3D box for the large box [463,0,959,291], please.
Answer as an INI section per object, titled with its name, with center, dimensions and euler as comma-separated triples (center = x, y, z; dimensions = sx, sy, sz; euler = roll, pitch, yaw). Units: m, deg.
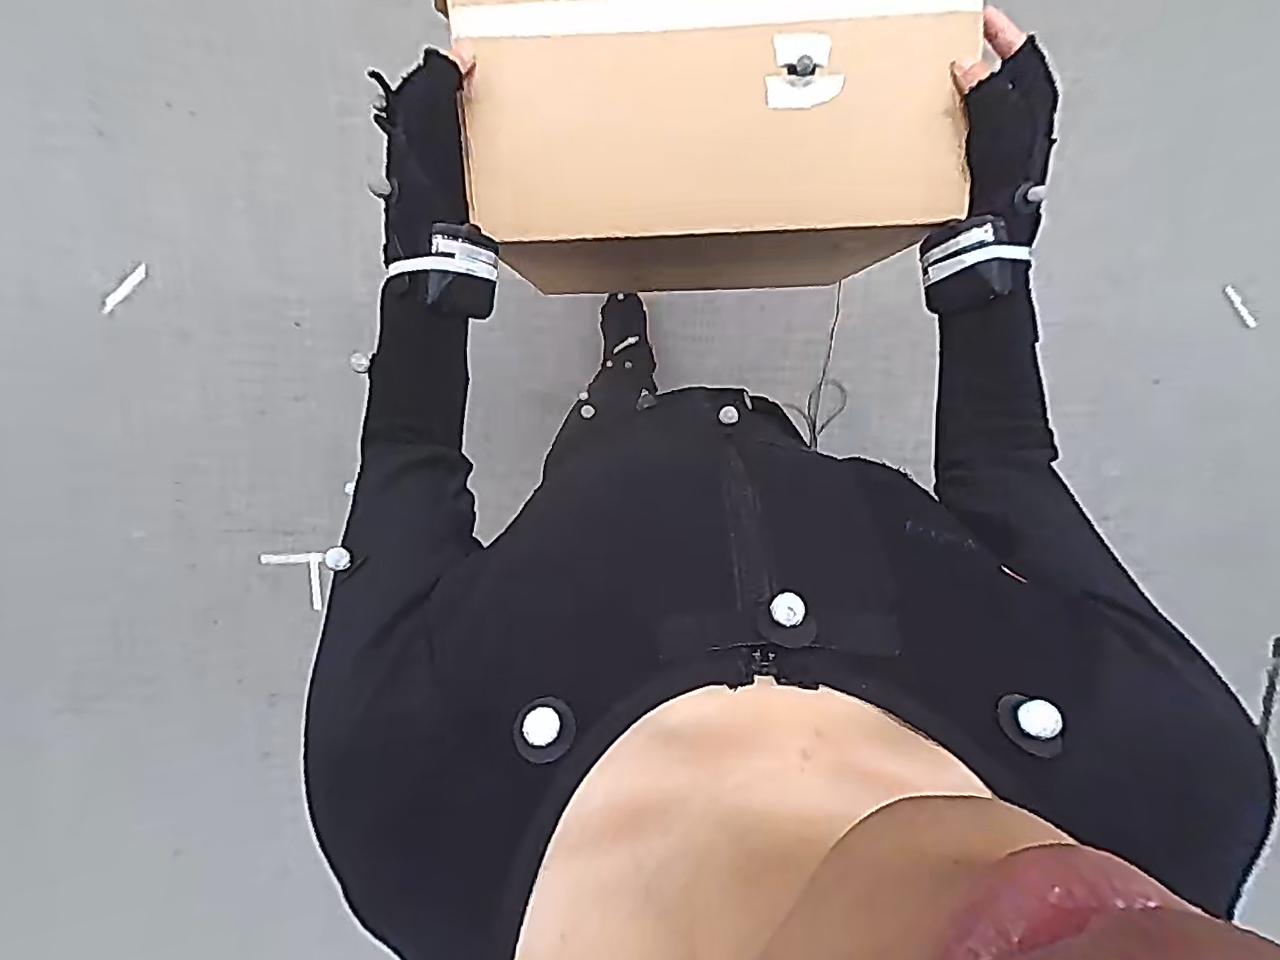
[large box]
center = 0.055, -0.396, 0.579
dimensions = 0.408, 0.320, 0.320
euler = -2, 101, 0
